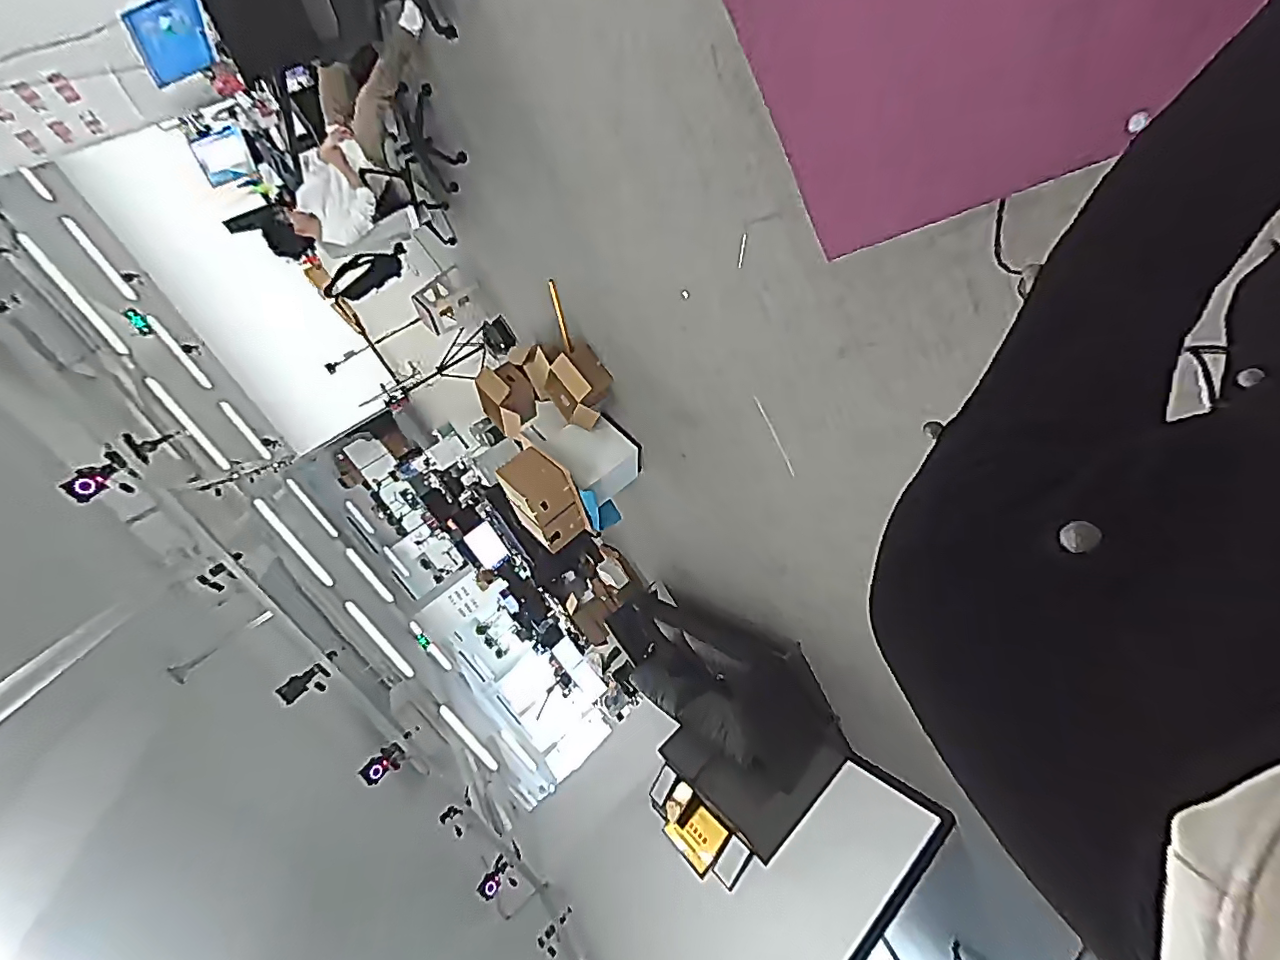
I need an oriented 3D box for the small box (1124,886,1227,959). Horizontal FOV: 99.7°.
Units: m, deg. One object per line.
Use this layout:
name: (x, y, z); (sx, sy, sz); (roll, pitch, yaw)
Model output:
small box: (1.486, 1.295, 1.504); (0.168, 0.176, 0.179); (18, 140, 54)
